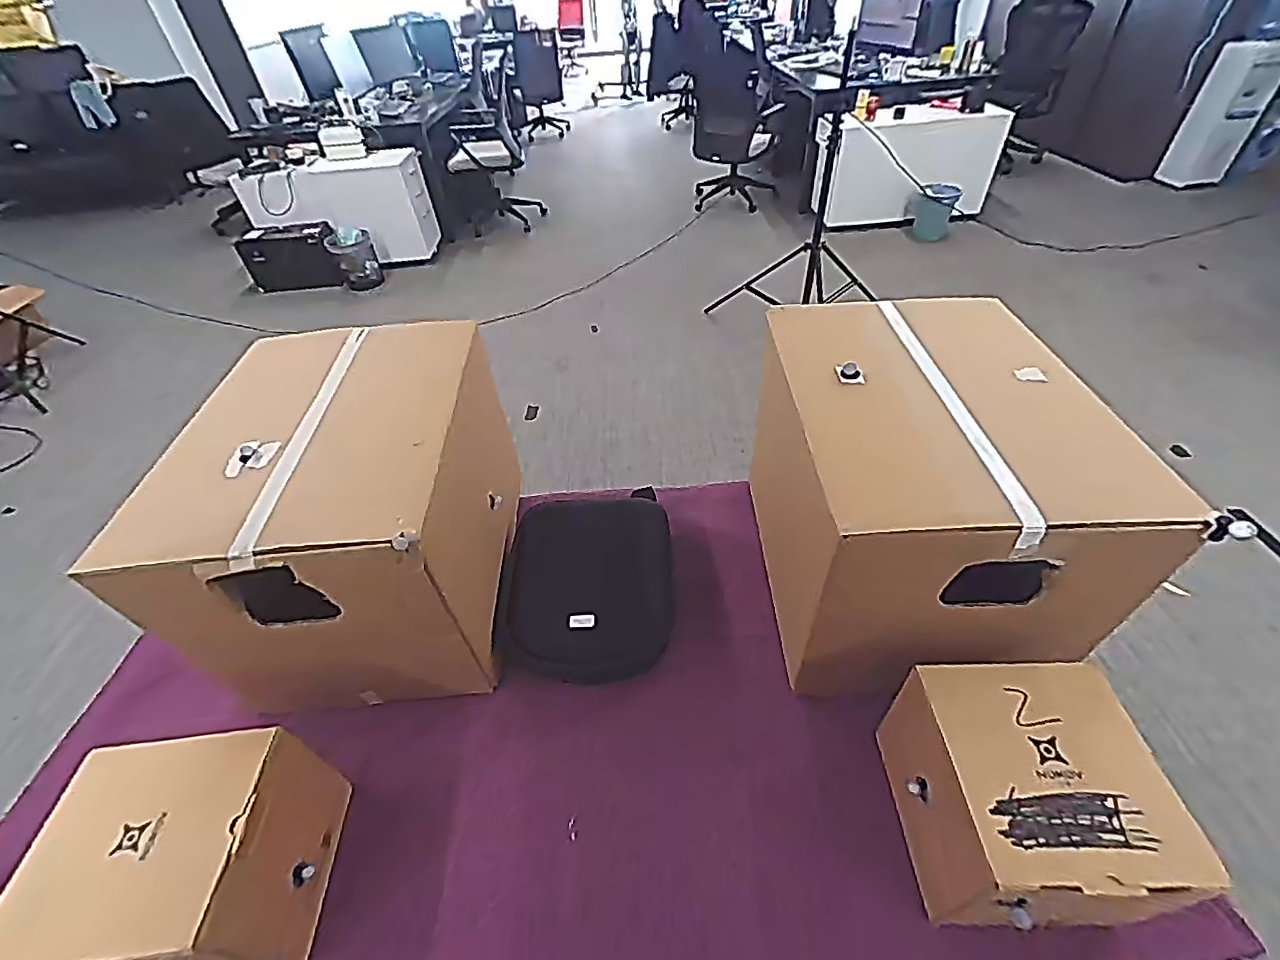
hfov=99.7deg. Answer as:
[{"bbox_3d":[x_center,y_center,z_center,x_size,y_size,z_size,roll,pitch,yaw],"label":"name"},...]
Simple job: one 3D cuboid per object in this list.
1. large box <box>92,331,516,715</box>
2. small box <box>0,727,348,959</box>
[{"bbox_3d":[-0.357,0.046,0.732,0.320,0.320,0.408,-7,46,-1],"label":"large box"},{"bbox_3d":[-0.415,0.359,0.508,0.179,0.176,0.168,-7,43,-3],"label":"small box"}]
